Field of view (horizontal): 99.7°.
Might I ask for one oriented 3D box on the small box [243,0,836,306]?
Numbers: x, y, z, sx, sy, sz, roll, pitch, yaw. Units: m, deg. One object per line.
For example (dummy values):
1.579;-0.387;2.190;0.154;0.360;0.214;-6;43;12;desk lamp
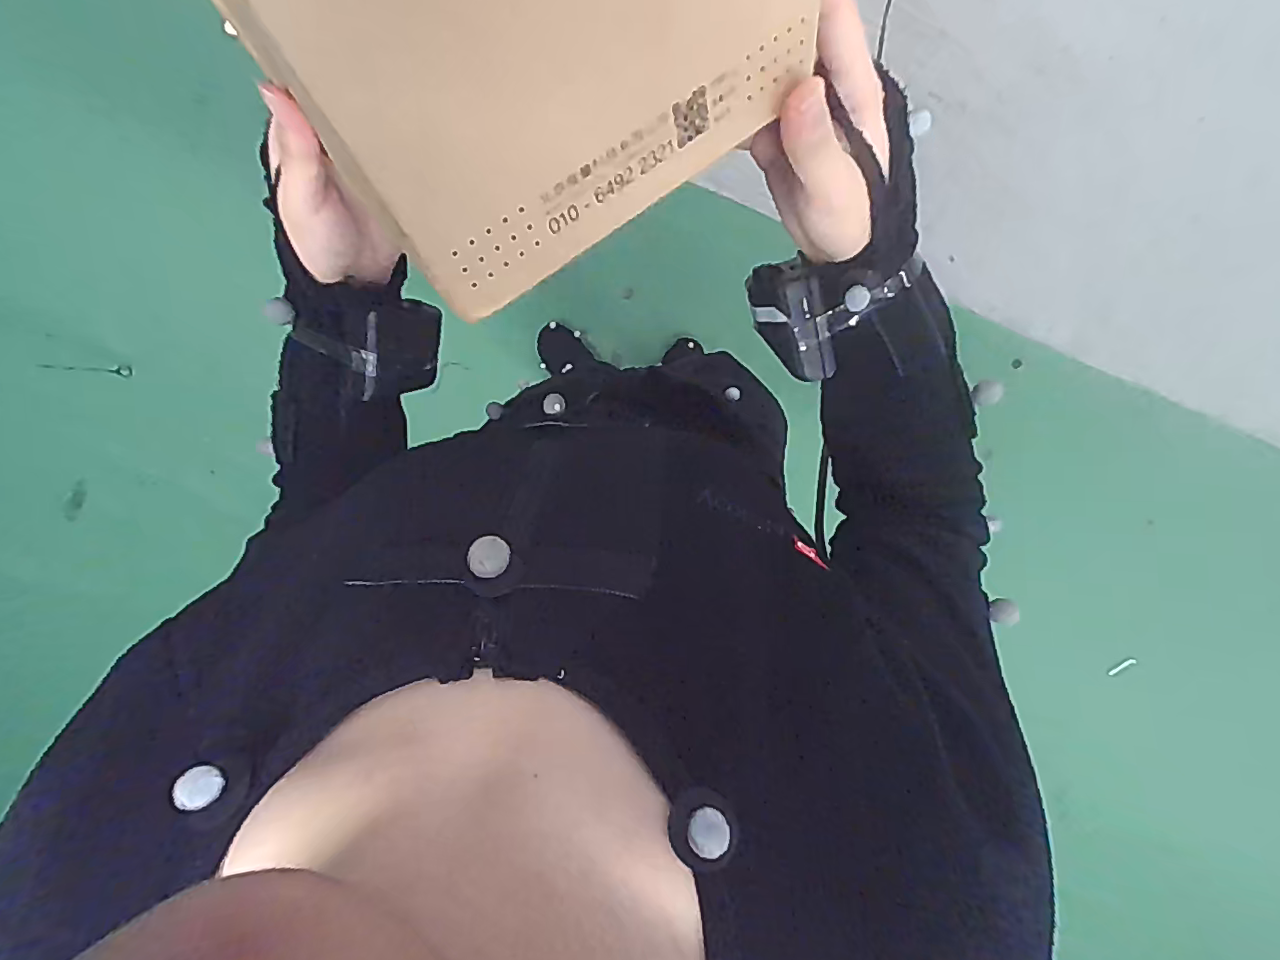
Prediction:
-0.052;-0.195;0.182;0.168;0.176;0.179;-39;61;-7;small box
